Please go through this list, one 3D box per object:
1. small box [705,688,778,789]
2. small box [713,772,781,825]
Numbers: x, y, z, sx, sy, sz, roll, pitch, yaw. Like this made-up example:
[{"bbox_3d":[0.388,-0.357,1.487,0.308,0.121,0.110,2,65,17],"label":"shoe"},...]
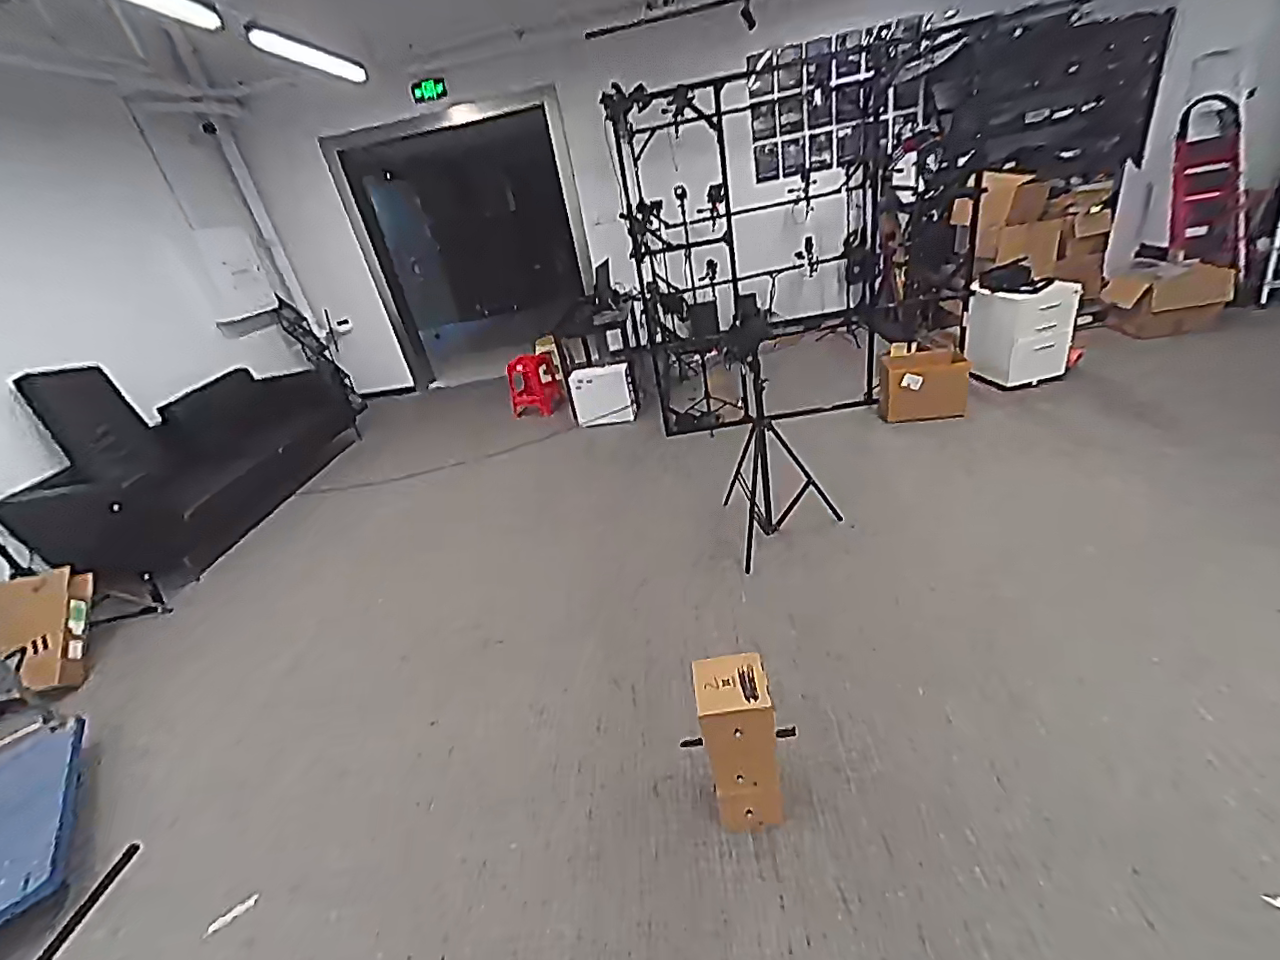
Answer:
[{"bbox_3d":[0.268,0.687,1.442,0.168,0.176,0.179,-8,29,7],"label":"small box"},{"bbox_3d":[0.293,0.833,1.510,0.168,0.176,0.179,-9,27,5],"label":"small box"}]
